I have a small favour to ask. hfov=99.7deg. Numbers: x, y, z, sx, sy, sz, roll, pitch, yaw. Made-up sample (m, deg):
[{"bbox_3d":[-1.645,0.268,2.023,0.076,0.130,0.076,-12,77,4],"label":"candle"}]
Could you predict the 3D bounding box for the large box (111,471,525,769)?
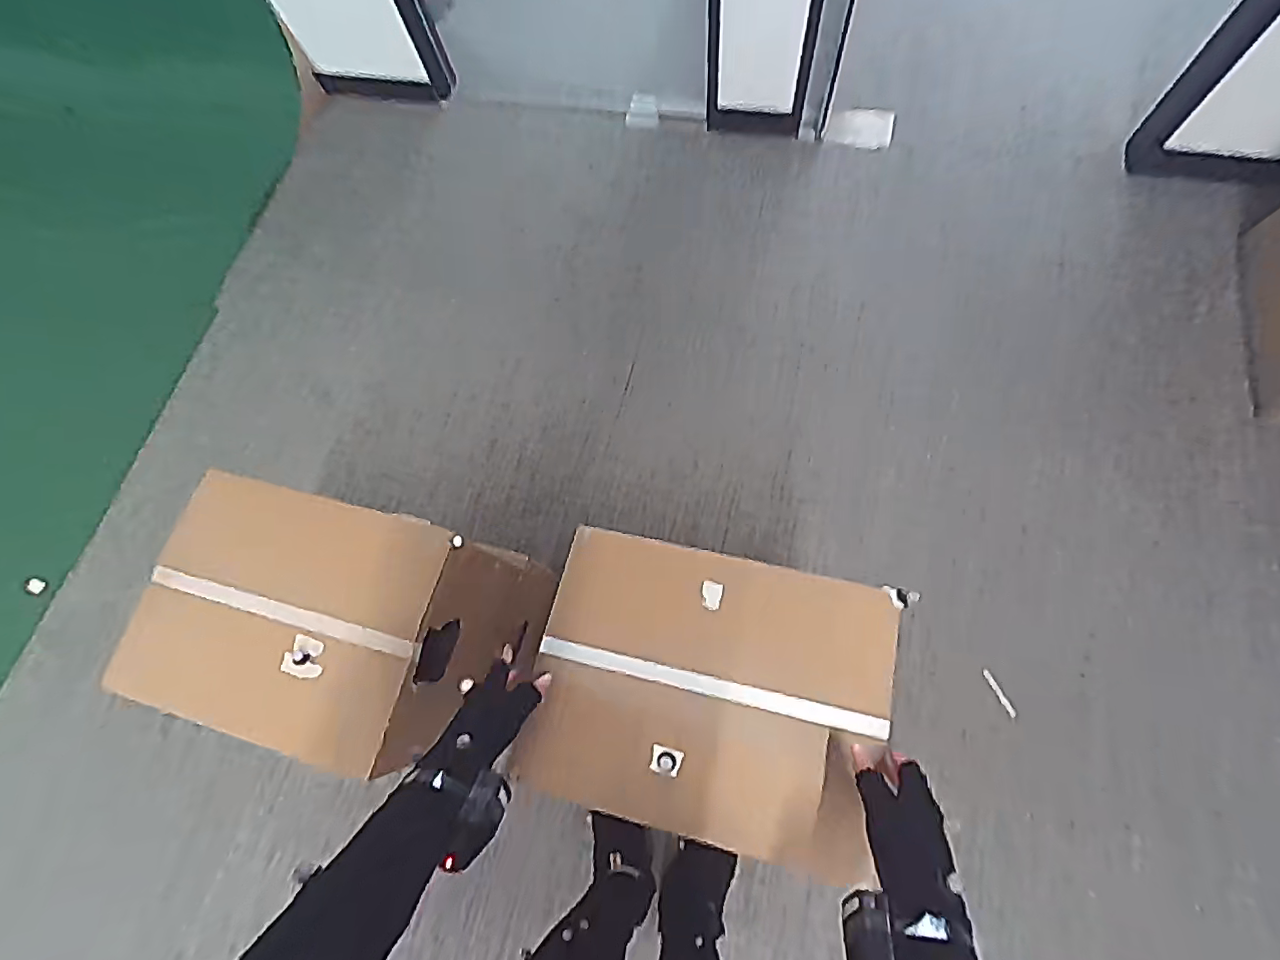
[{"bbox_3d":[-0.453,0.212,0.858,0.408,0.320,0.320,13,74,9],"label":"large box"}]
